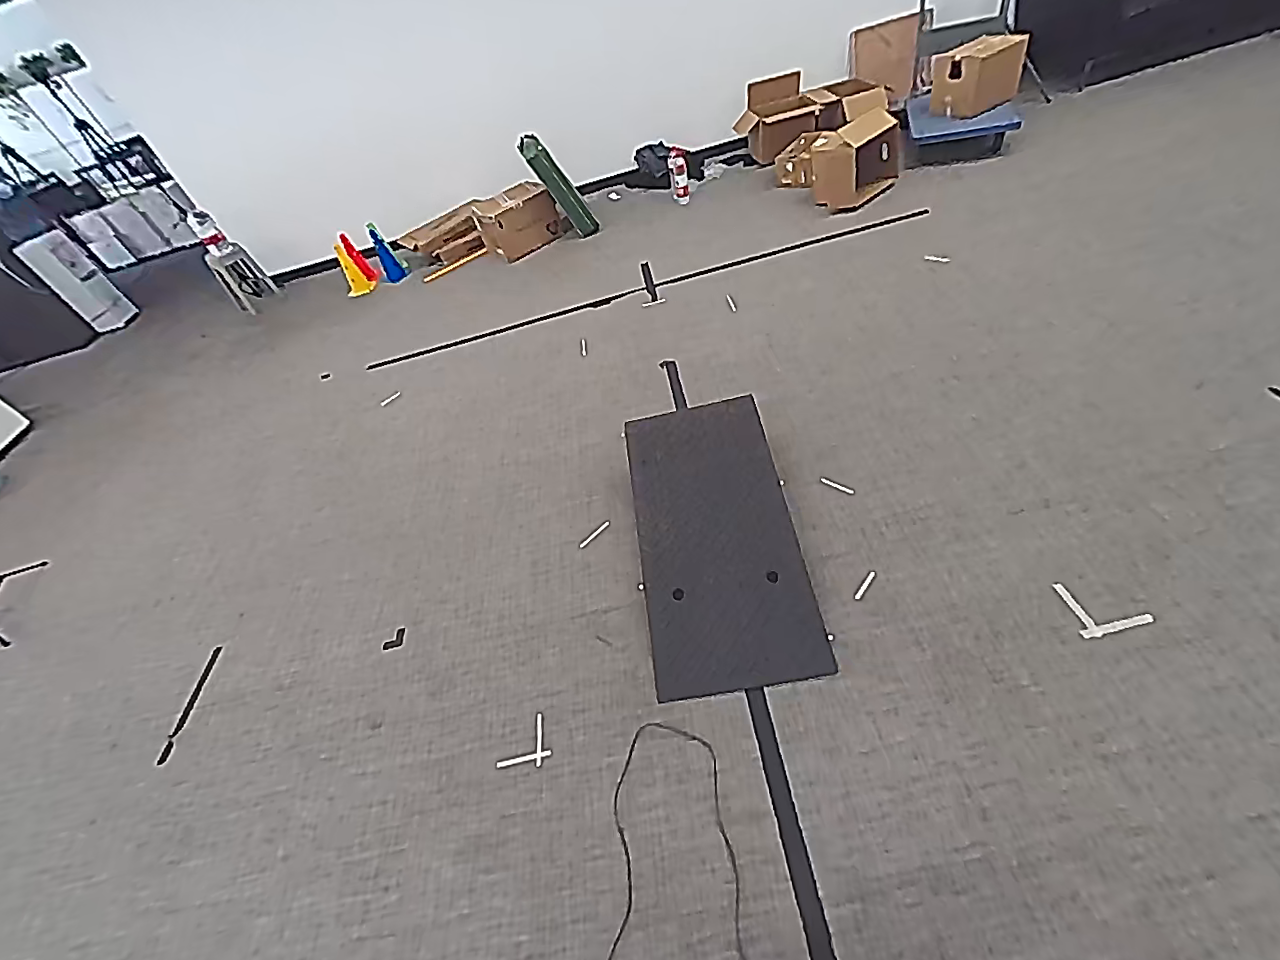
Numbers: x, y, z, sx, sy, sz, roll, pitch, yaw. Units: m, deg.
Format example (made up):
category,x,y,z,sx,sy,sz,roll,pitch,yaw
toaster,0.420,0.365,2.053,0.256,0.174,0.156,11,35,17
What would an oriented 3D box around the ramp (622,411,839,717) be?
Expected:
category,x,y,z,sx,sy,sz,roll,pitch,yaw
ramp,0.234,0.199,1.747,0.509,0.206,0.991,-14,44,4
